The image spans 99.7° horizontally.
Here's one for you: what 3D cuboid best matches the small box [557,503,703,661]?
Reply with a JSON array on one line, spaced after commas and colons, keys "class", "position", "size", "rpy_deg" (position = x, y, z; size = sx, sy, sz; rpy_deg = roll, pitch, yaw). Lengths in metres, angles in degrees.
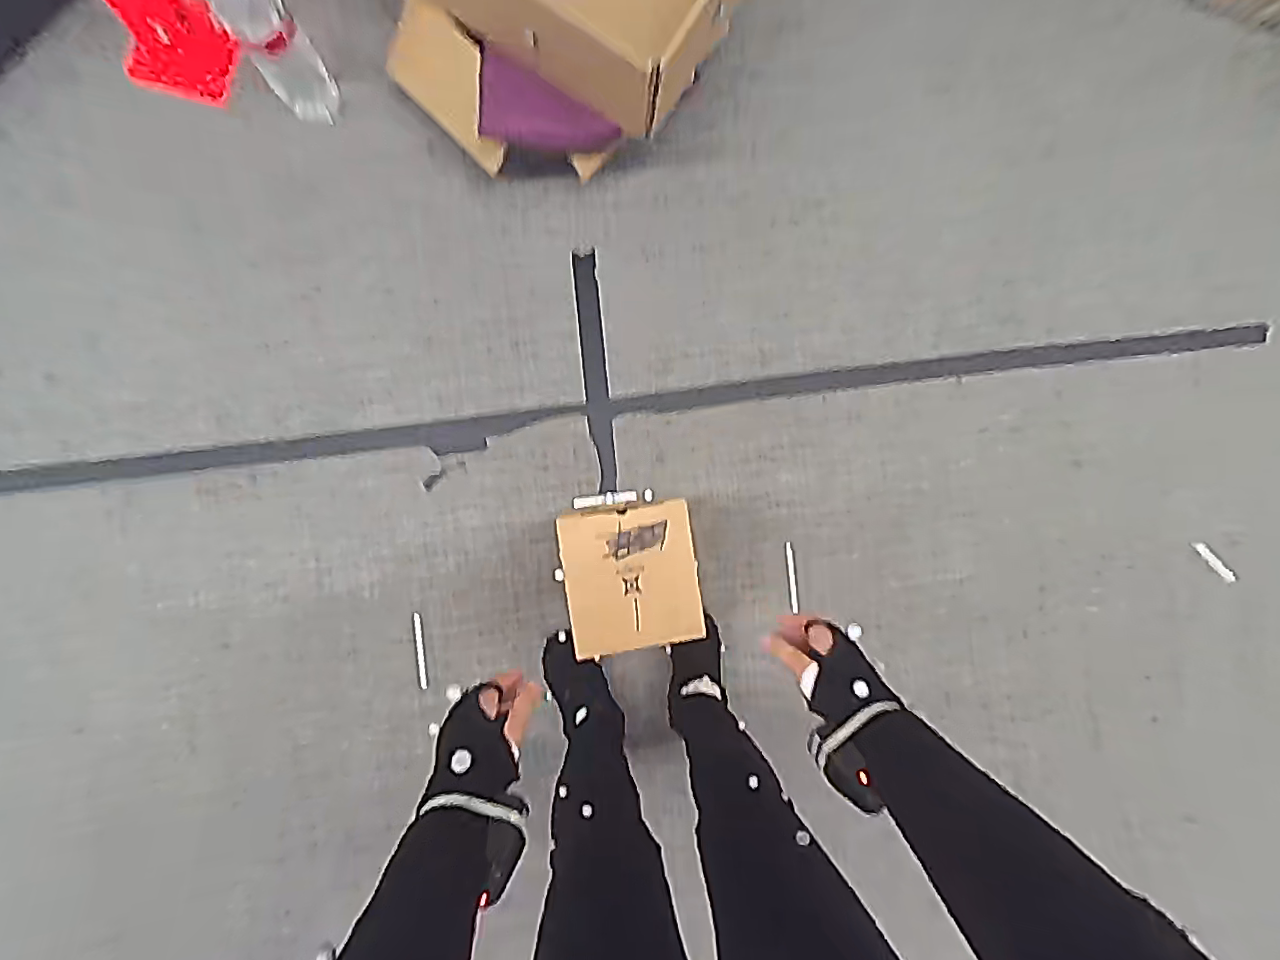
[{"class": "small box", "position": [-0.020, 0.130, 0.753], "size": [0.168, 0.176, 0.179], "rpy_deg": [-9, 89, -5]}]
